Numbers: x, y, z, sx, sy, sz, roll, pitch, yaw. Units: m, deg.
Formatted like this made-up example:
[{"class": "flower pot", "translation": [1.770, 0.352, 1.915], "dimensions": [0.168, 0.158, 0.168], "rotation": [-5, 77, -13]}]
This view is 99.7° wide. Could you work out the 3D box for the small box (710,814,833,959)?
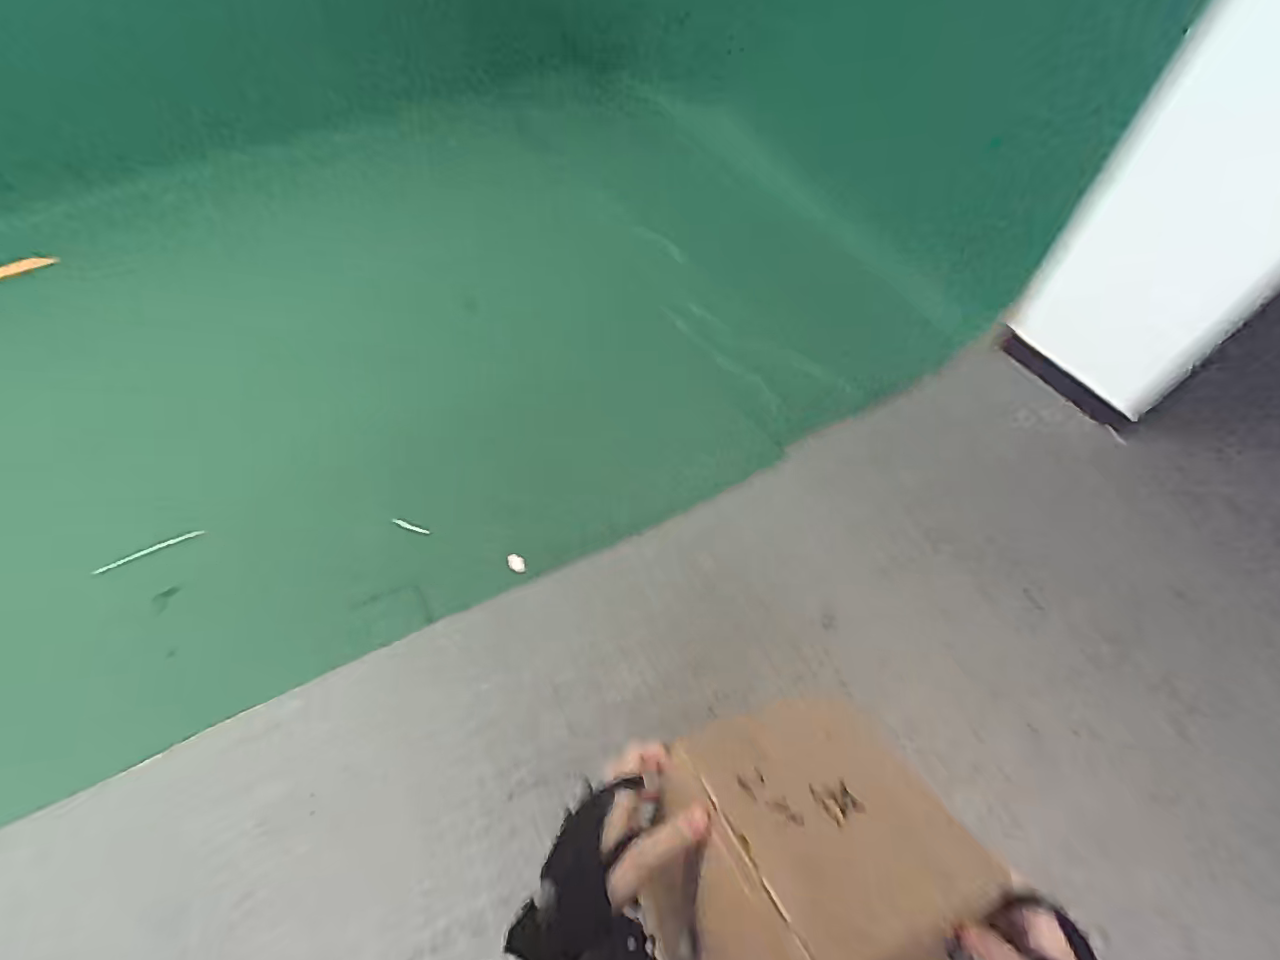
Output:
[{"class": "small box", "translation": [0.255, 0.805, 1.091], "dimensions": [0.168, 0.176, 0.179], "rotation": [-26, 58, -12]}]
